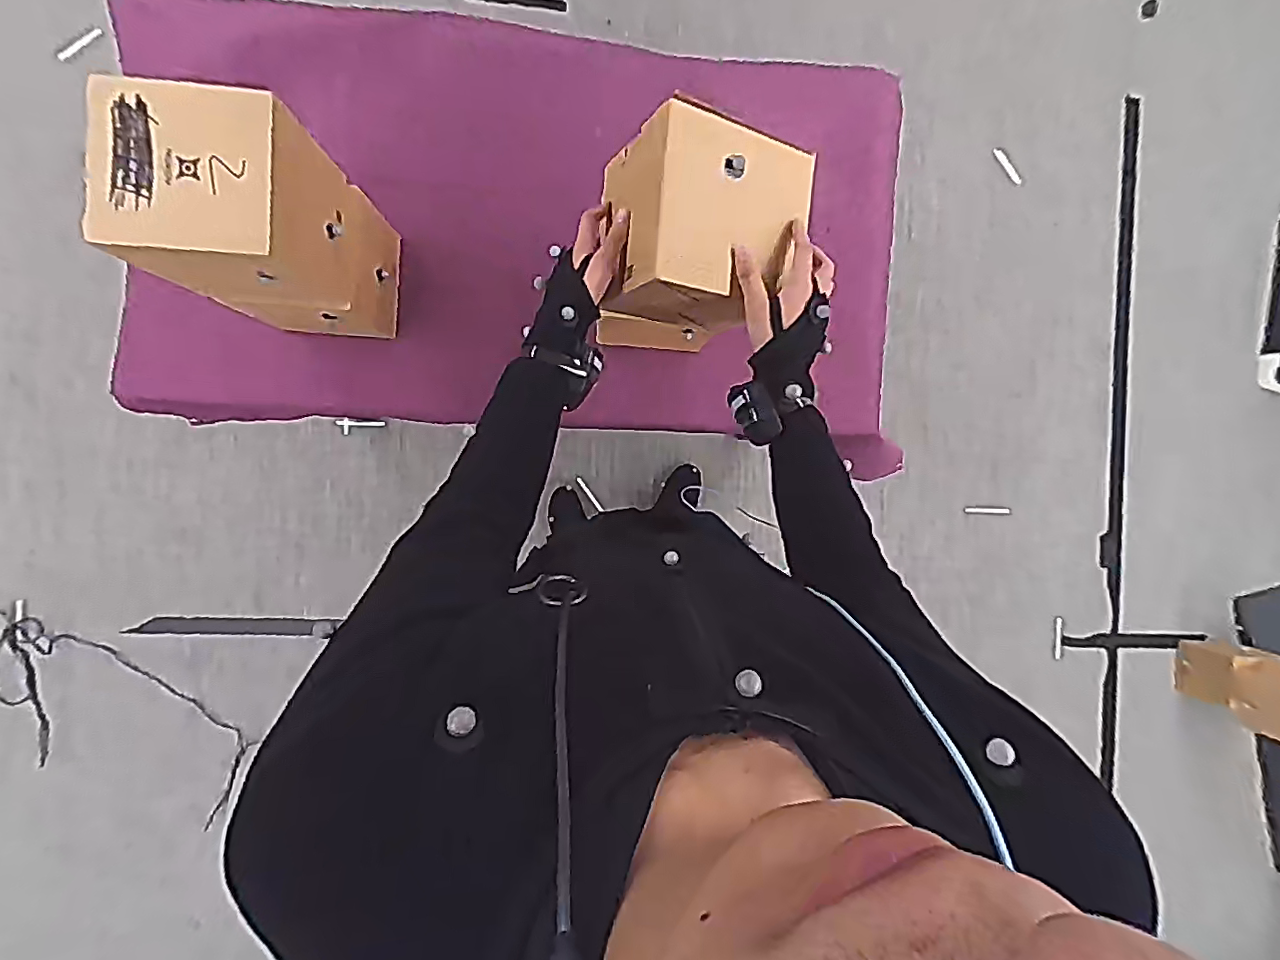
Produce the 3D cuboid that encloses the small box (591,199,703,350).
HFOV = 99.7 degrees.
[{"bbox_3d":[0.019,-0.300,0.819,0.179,0.176,0.168,3,91,-5],"label":"small box"}]

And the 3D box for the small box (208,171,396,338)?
[{"bbox_3d":[-0.468,-0.308,0.775,0.179,0.176,0.168,4,91,-5],"label":"small box"}]

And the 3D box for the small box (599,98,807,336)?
[{"bbox_3d":[0.059,-0.269,0.604,0.179,0.168,0.176,4,94,-26],"label":"small box"}]
